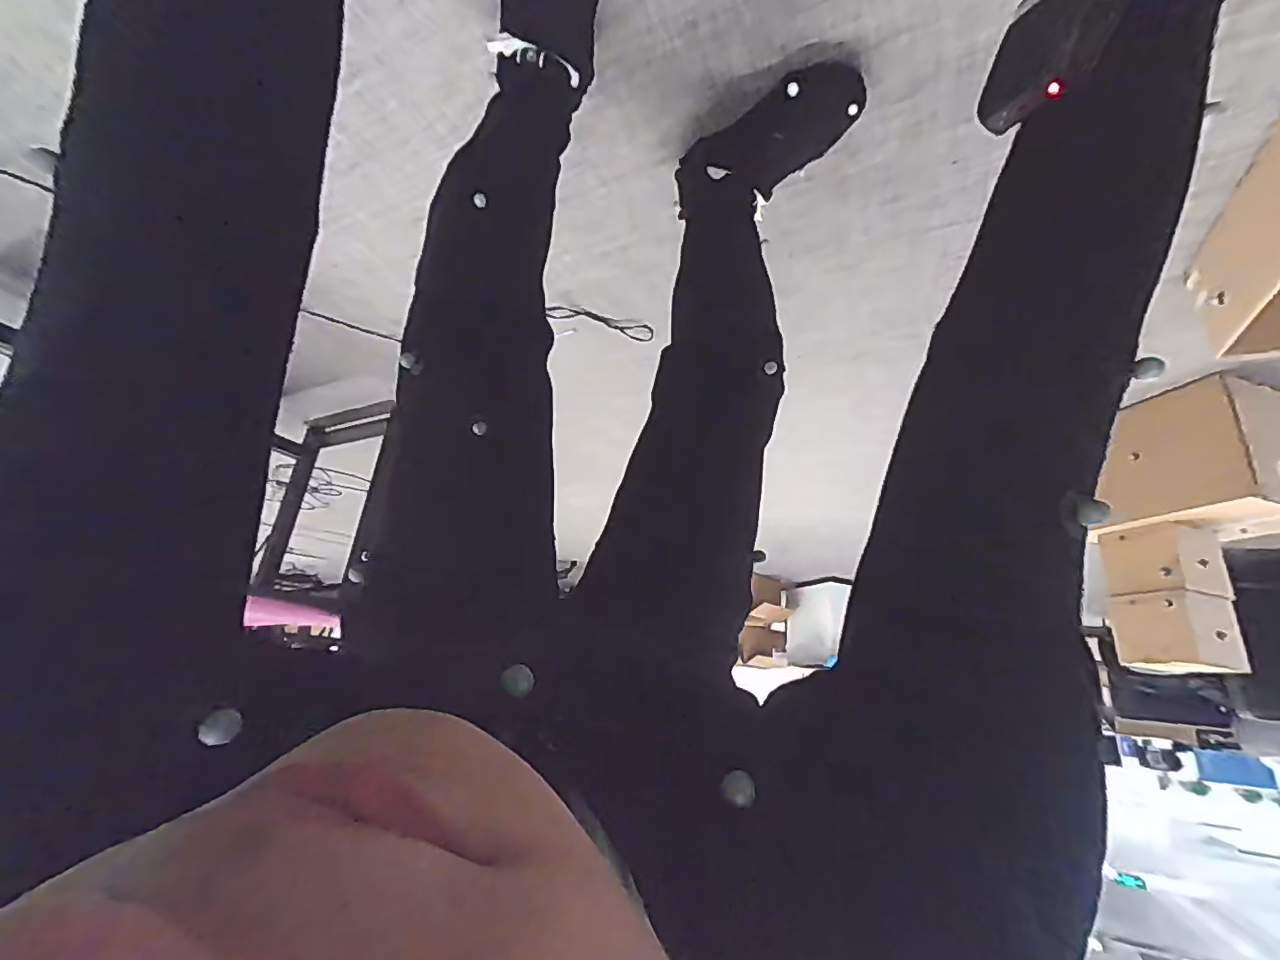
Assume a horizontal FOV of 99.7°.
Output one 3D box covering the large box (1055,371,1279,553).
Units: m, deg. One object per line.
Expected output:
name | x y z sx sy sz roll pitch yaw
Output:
large box | 1.402 -0.023 1.397 0.320 0.320 0.408 10 158 -13

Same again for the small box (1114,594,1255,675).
small box | 1.306 0.374 1.310 0.179 0.176 0.168 11 159 -14
